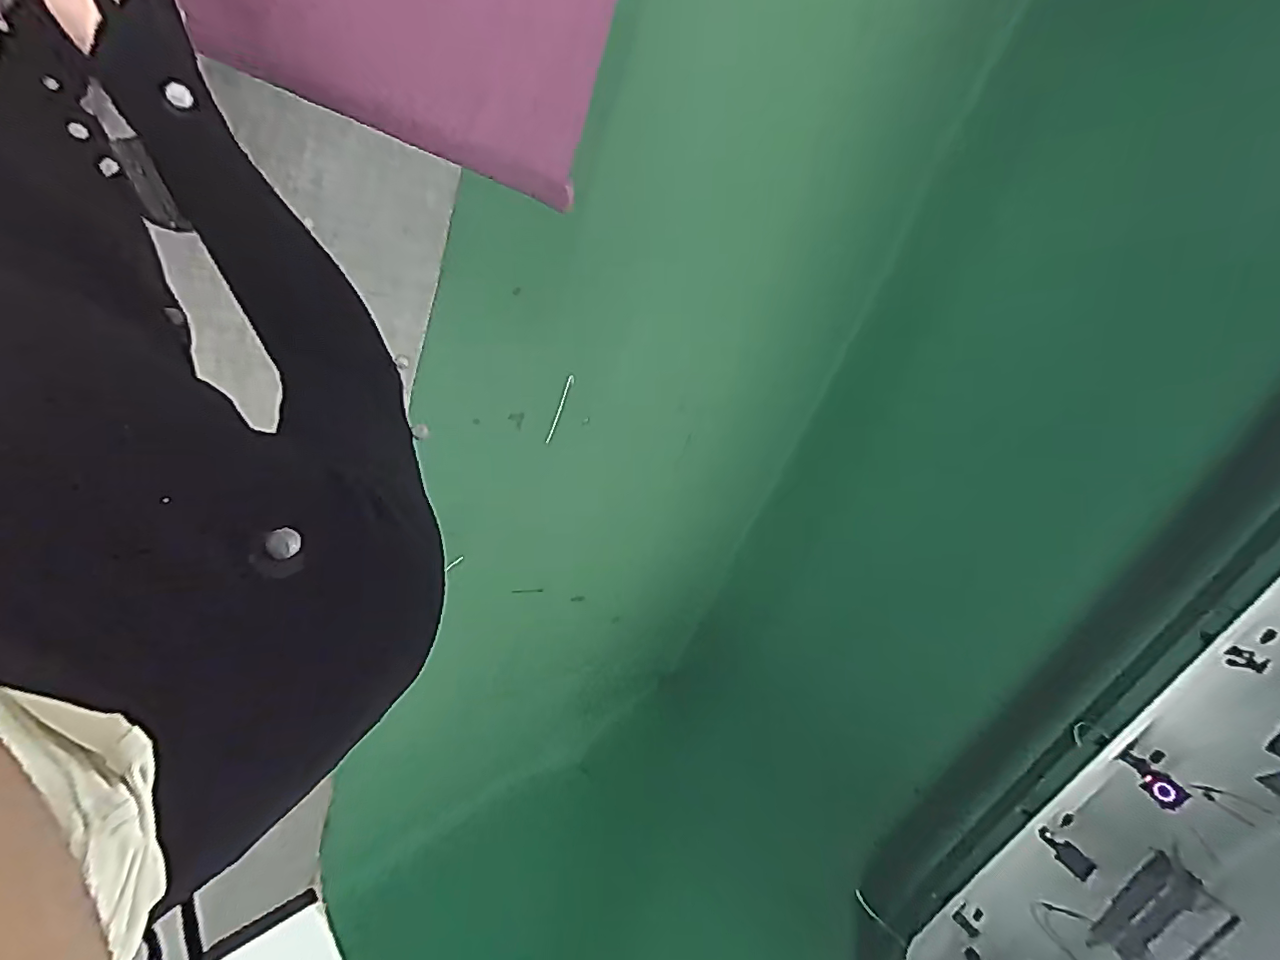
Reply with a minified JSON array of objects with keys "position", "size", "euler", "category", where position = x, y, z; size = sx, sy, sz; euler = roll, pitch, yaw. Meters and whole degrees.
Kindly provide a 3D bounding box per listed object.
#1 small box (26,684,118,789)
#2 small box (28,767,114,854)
[{"position":[-1.596,0.713,1.519],"size":[0.168,0.176,0.179],"euler":[-3,123,-50],"category":"small box"},{"position":[-1.702,0.951,1.615],"size":[0.168,0.176,0.179],"euler":[-2,123,-50],"category":"small box"}]
